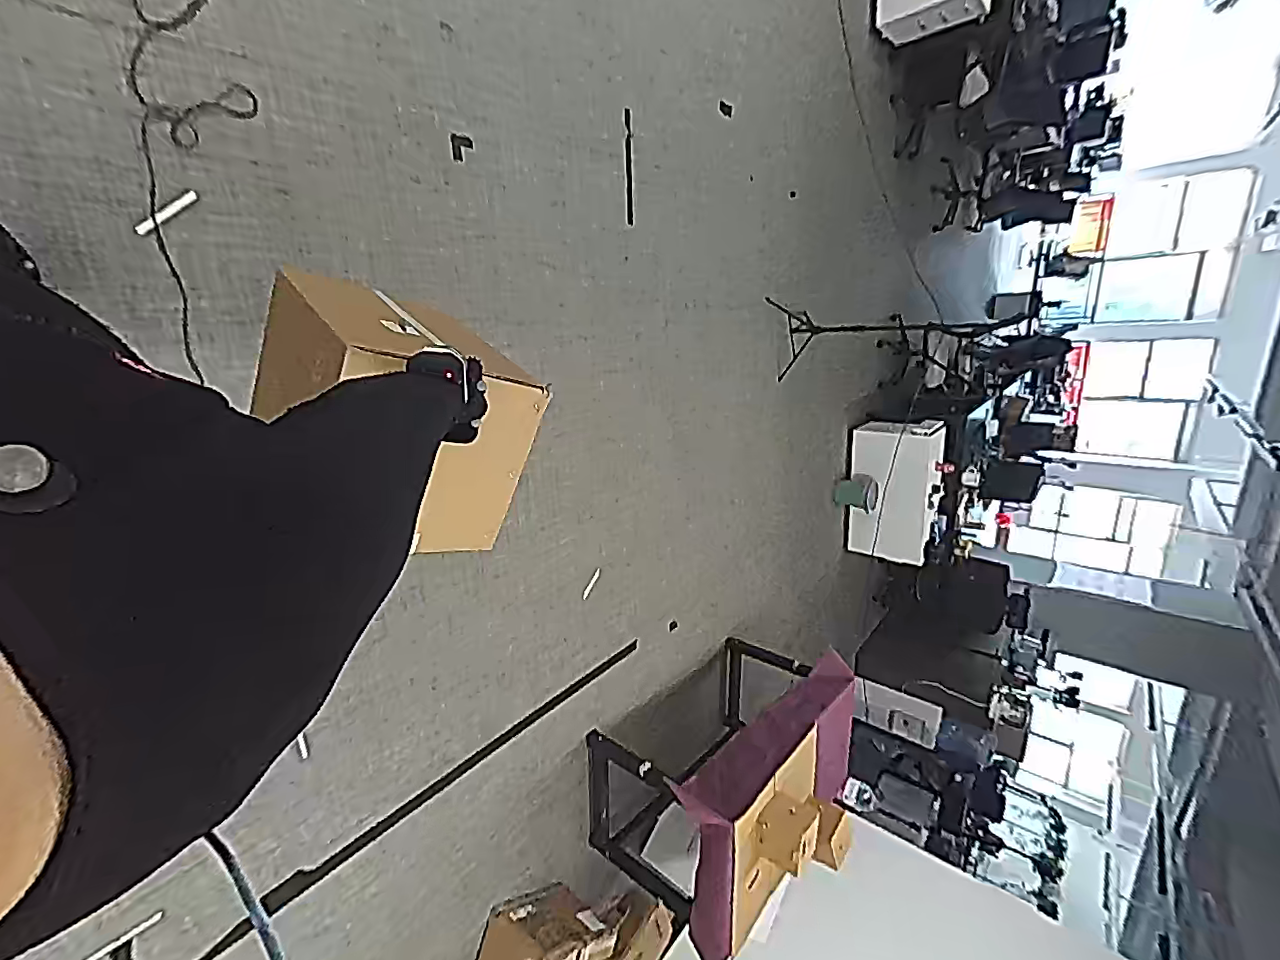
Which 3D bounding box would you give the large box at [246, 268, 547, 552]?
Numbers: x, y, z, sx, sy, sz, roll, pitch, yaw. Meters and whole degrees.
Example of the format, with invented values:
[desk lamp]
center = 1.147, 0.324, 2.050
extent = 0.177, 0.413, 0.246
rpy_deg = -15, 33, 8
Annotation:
[large box]
center = -0.438, -0.118, 0.941
extent = 0.320, 0.408, 0.320
rpy_deg = 4, 117, -48
